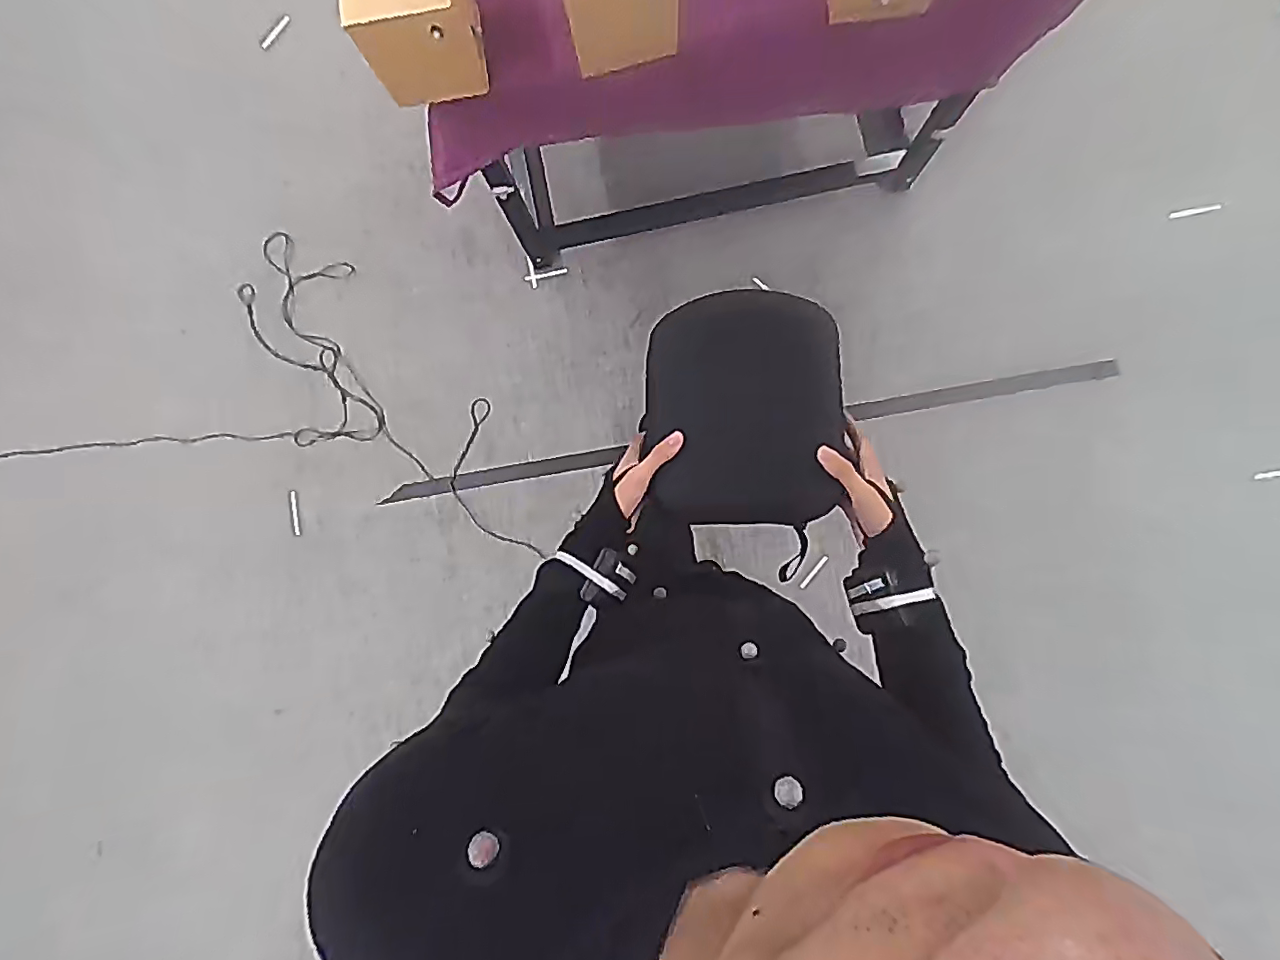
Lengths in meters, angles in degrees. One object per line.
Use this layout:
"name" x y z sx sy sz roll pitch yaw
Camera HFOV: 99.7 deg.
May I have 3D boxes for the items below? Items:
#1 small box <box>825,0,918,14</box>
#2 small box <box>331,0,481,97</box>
"small box" 0.391 -0.901 0.859 0.168 0.176 0.179 -5 88 3
"small box" -0.382 -0.775 0.890 0.179 0.176 0.168 -9 86 1
